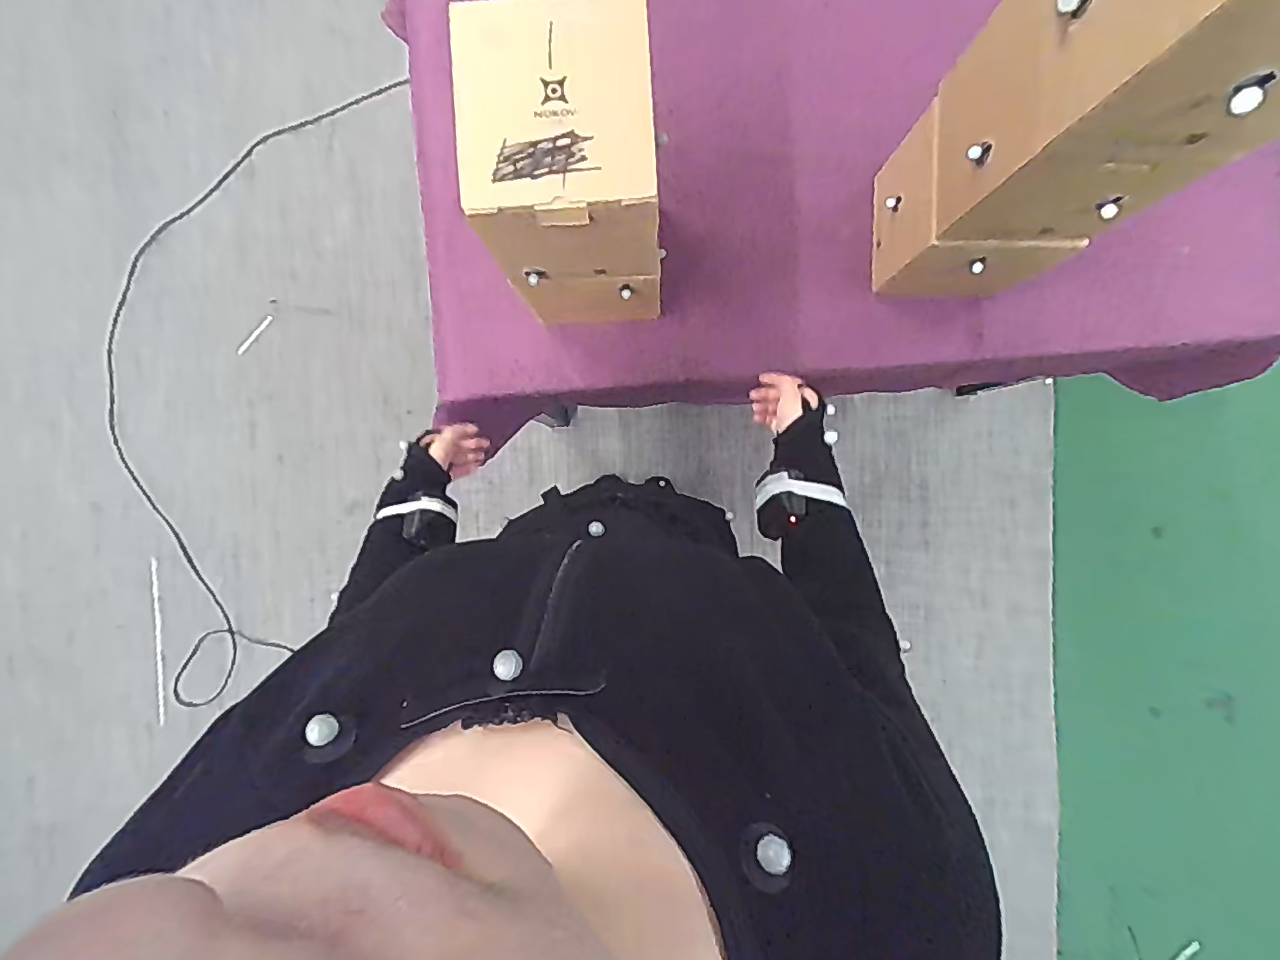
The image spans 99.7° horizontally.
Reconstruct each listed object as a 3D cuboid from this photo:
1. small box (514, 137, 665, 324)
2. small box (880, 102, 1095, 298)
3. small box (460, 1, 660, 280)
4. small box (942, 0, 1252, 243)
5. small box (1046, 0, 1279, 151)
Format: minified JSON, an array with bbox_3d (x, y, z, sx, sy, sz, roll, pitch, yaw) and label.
[{"bbox_3d":[-0.057,-0.307,0.698,0.179,0.176,0.168,-2,90,2],"label":"small box"},{"bbox_3d":[0.419,-0.336,0.676,0.179,0.176,0.168,2,91,2],"label":"small box"},{"bbox_3d":[-0.065,-0.310,0.534,0.168,0.176,0.179,-3,89,2],"label":"small box"},{"bbox_3d":[0.412,-0.343,0.513,0.168,0.176,0.179,2,90,2],"label":"small box"},{"bbox_3d":[0.402,-0.342,0.349,0.168,0.176,0.179,1,91,1],"label":"small box"}]
